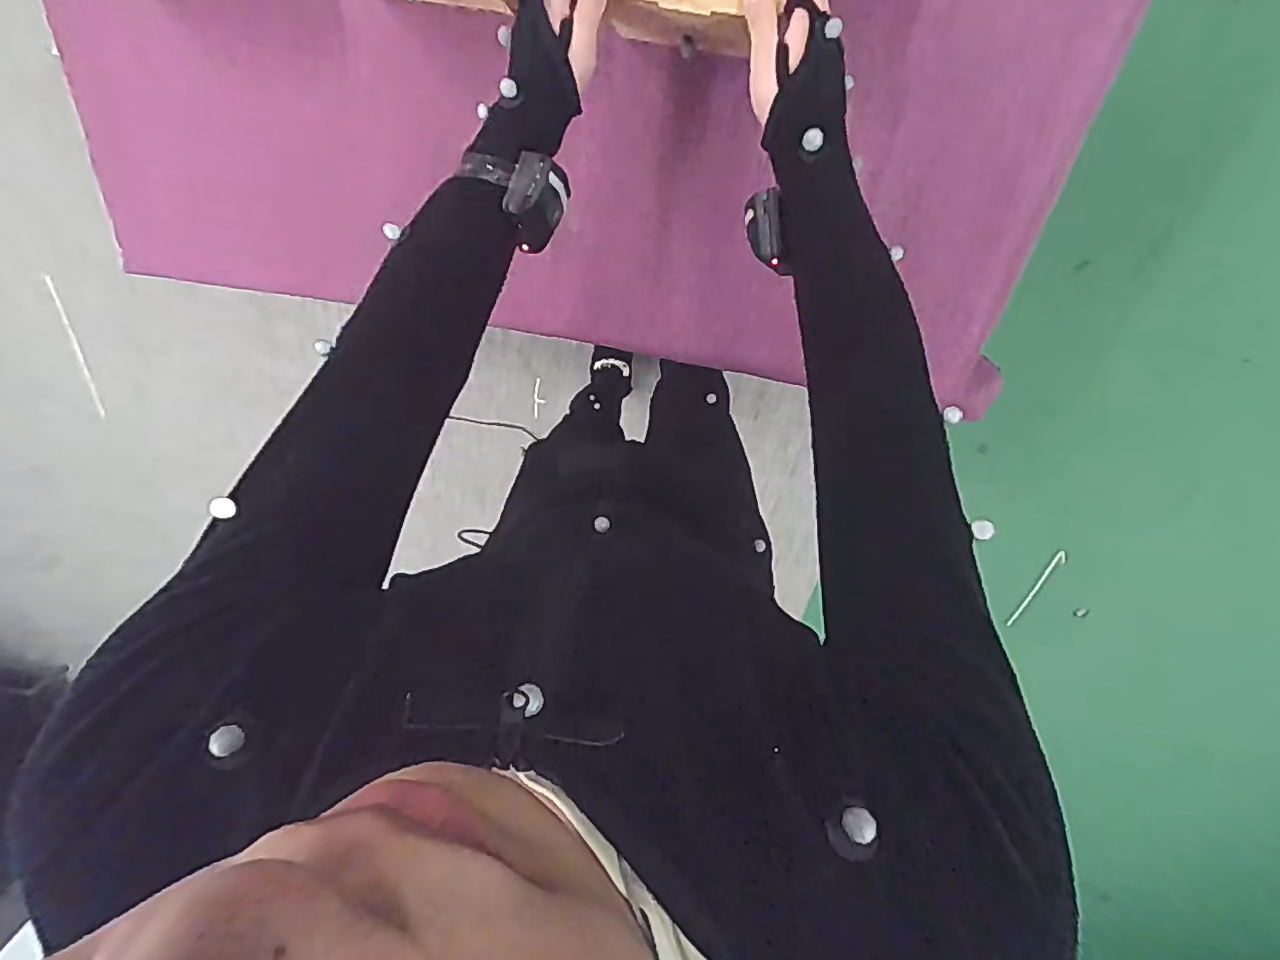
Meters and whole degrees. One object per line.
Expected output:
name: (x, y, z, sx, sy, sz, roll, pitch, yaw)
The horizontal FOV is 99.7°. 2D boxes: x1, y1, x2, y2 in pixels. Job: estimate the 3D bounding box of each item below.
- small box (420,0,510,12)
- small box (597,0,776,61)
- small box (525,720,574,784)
small box: (-0.221, -0.567, 0.493, 0.168, 0.176, 0.179, 10, 122, 4)
small box: (0.054, -0.505, 0.479, 0.168, 0.176, 0.179, 12, 121, 3)
small box: (-0.395, 1.189, 2.370, 0.168, 0.176, 0.179, 14, 122, 2)
